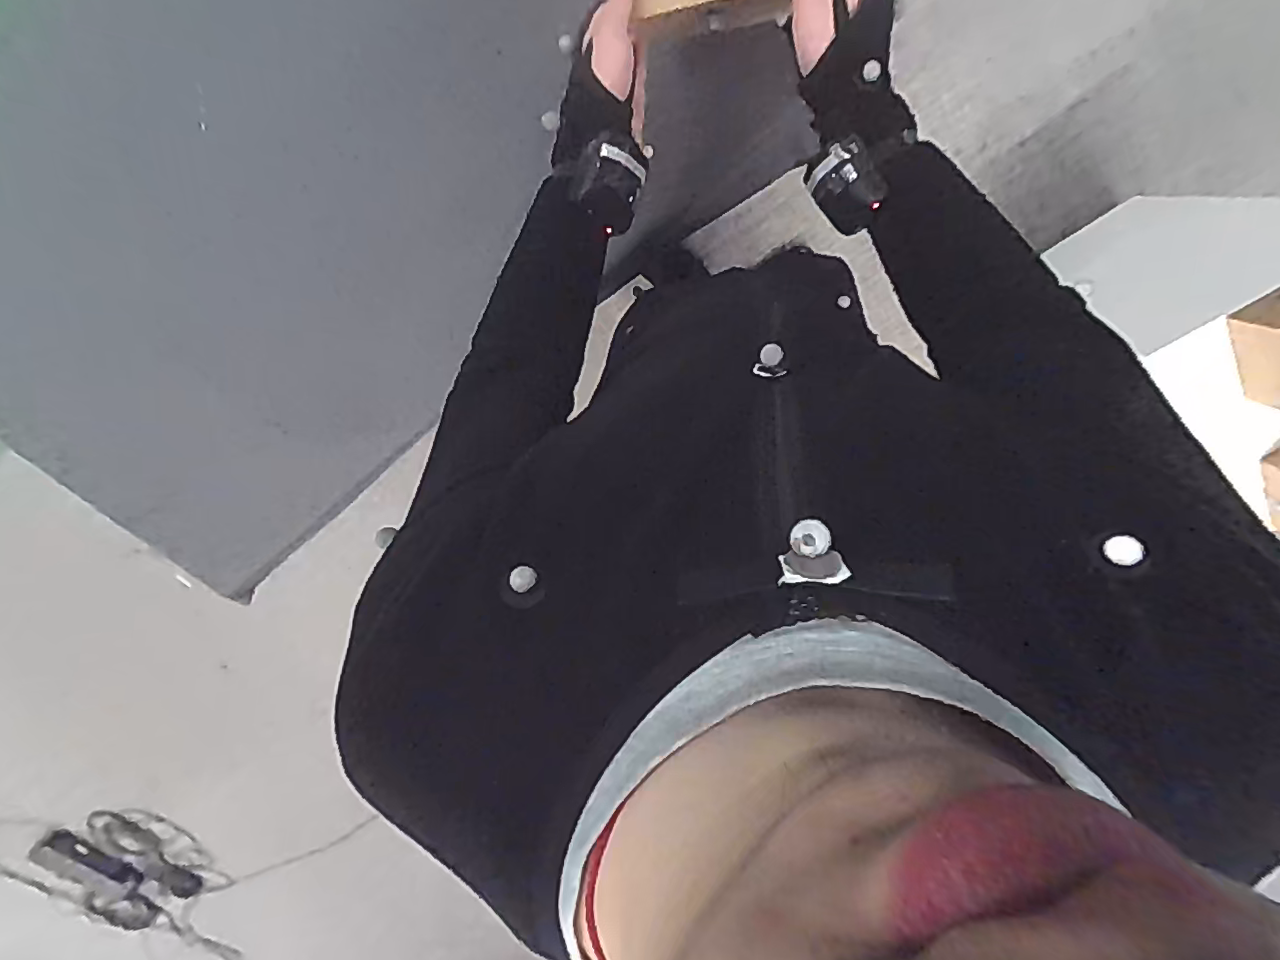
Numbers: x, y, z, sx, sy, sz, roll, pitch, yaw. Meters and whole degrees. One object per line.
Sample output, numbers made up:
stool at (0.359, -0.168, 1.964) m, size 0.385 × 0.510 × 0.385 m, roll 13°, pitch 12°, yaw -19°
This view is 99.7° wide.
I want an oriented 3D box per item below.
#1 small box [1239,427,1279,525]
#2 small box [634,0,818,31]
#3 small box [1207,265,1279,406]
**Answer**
small box at (1.221, -0.001, 0.943) m, size 0.168 × 0.176 × 0.179 m, roll -33°, pitch 114°, yaw 14°
small box at (0.080, -0.478, 0.420) m, size 0.179 × 0.176 × 0.168 m, roll -2°, pitch 123°, yaw 12°
small box at (1.036, -0.223, 0.821) m, size 0.168 × 0.176 × 0.179 m, roll -36°, pitch 113°, yaw 13°
